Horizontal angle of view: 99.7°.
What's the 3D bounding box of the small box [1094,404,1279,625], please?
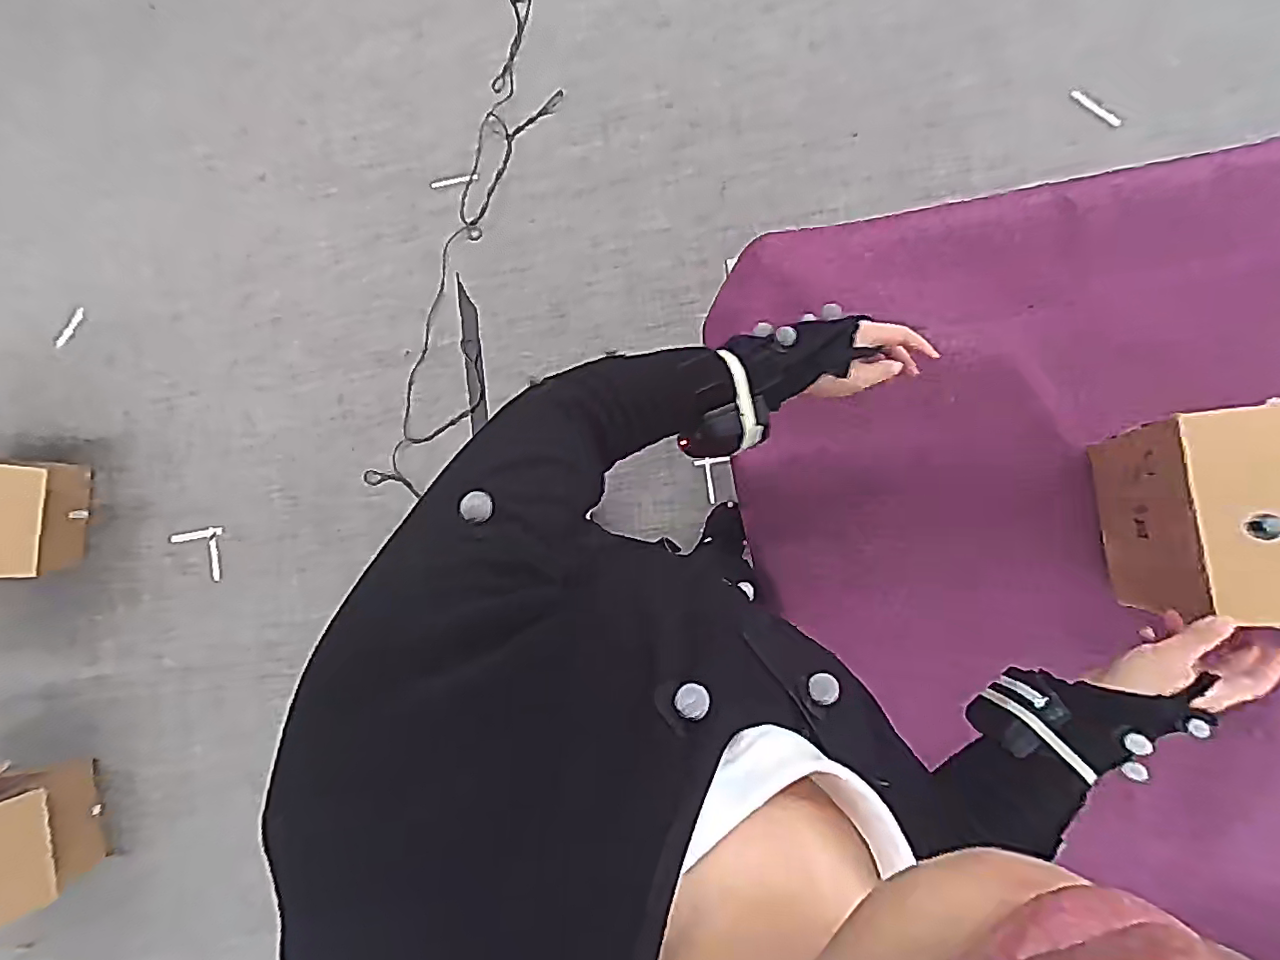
[{"bbox_3d":[0.556,0.028,0.483,0.176,0.168,0.179,-5,83,17],"label":"small box"}]
